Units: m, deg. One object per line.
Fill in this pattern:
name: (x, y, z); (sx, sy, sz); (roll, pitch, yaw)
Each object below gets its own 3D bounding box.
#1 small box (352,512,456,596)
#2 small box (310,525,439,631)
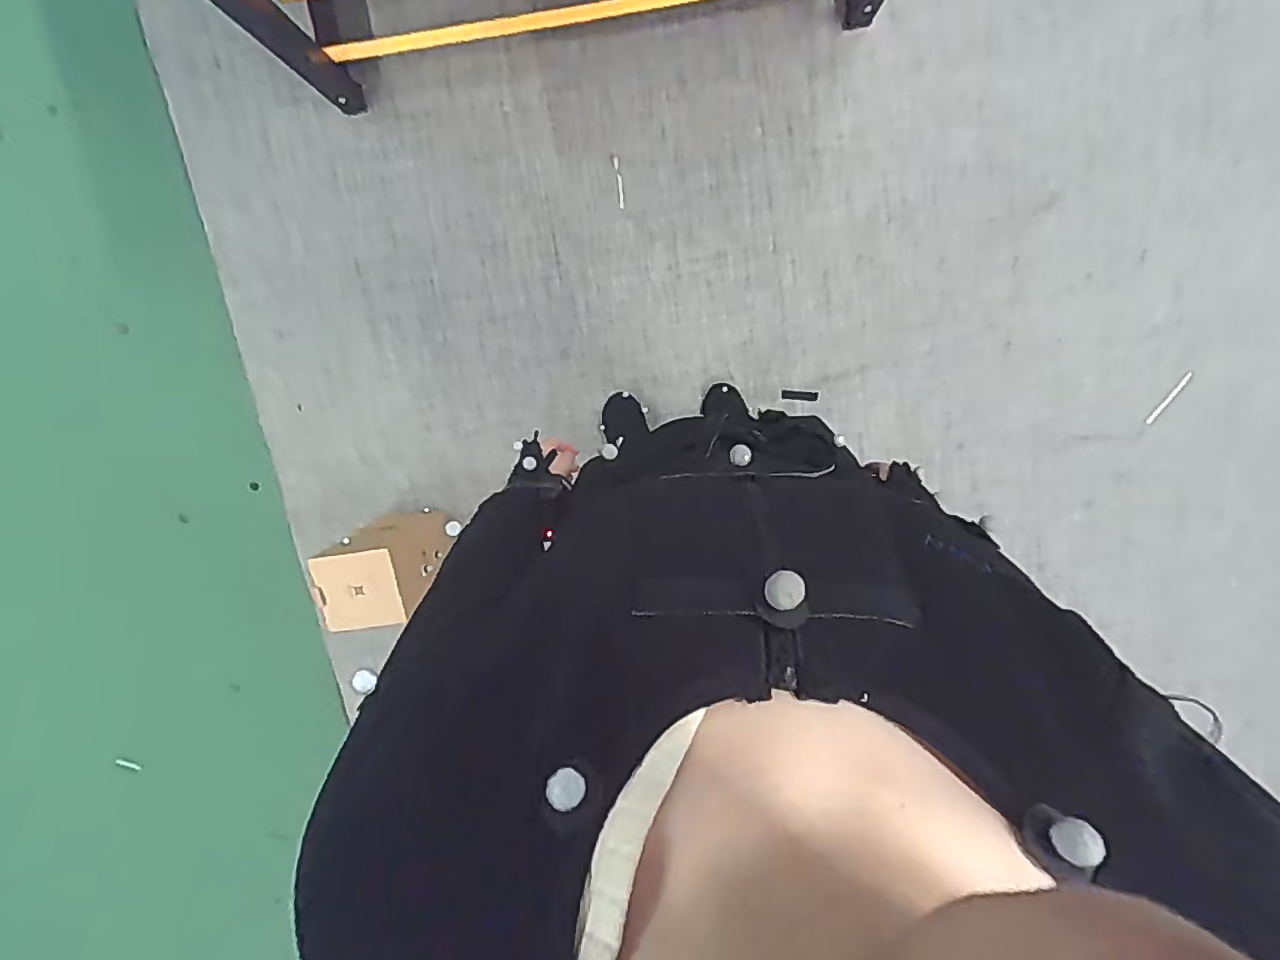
small box: (-0.576, 0.183, 1.339); (0.168, 0.176, 0.179); (-6, 101, 4)
small box: (-0.568, 0.207, 1.178); (0.179, 0.176, 0.168); (-10, 102, 3)
